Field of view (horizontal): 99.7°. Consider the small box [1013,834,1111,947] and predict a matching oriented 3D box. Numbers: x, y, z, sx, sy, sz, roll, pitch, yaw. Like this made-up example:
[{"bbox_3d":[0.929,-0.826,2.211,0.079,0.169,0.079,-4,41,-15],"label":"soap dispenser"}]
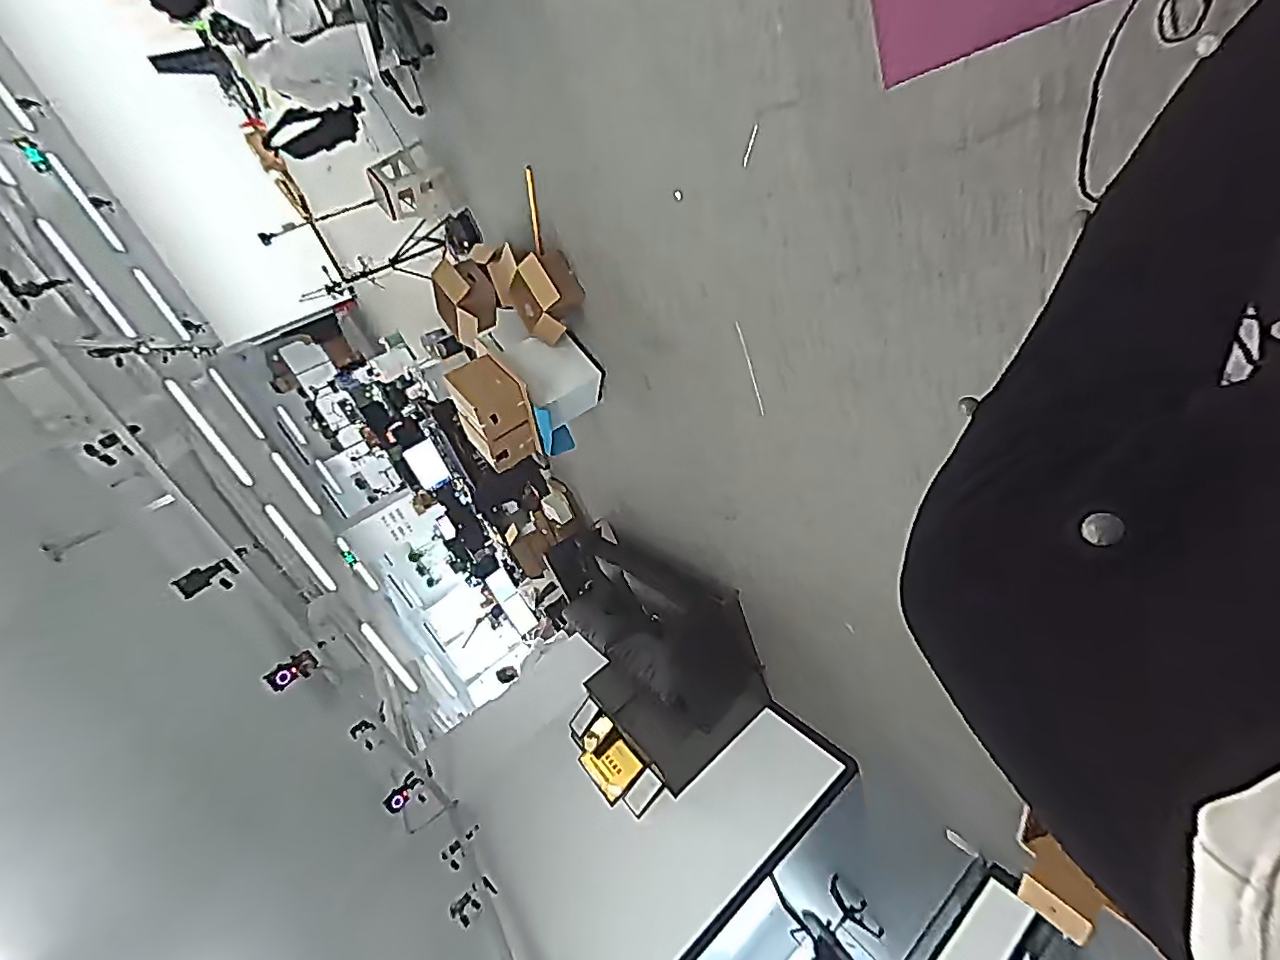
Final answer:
[{"bbox_3d":[1.226,1.190,1.574,0.168,0.176,0.179,29,144,48],"label":"small box"}]
